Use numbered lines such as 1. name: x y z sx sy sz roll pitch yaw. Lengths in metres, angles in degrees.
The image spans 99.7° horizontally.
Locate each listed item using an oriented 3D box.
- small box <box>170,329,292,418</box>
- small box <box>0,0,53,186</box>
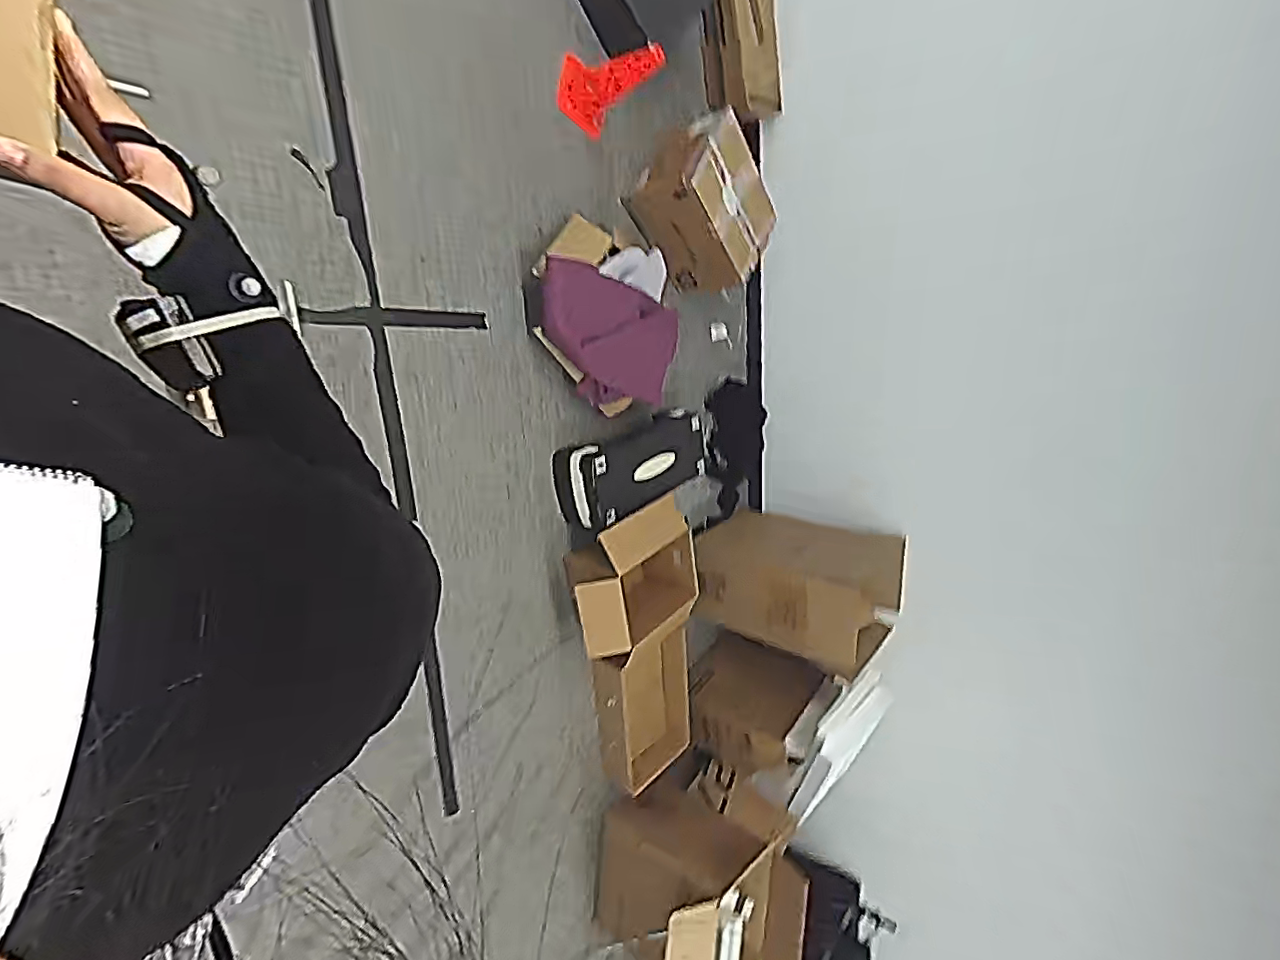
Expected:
1. small box: -0.886 -0.234 1.172 0.168 0.176 0.179 -17 109 -46
2. small box: -0.457 -0.295 0.306 0.168 0.176 0.179 -2 105 -46
